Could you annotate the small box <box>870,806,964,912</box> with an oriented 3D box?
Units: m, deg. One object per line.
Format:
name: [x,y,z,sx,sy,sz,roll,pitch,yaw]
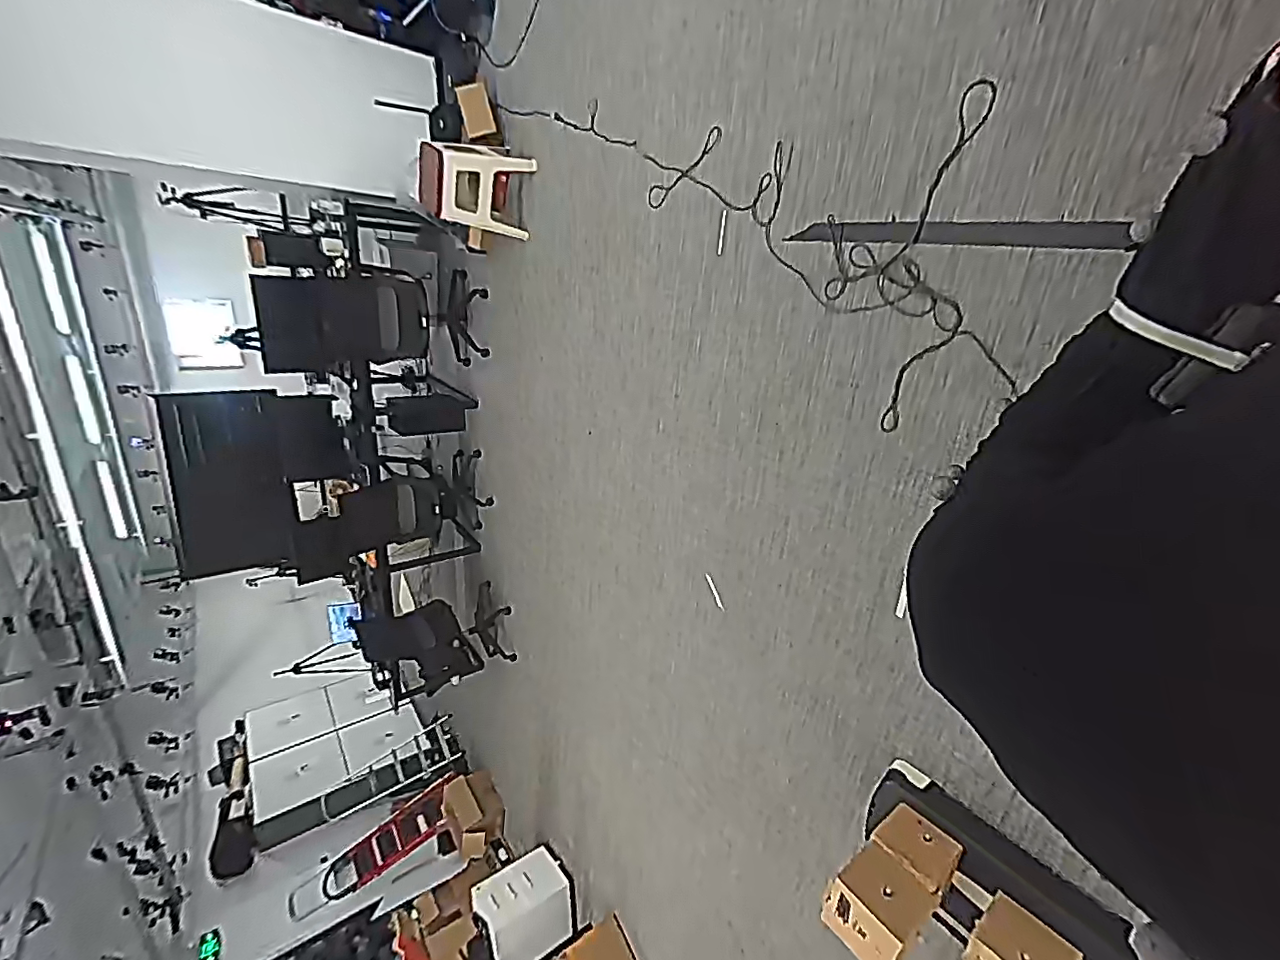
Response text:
small box: [0.723,1.018,1.426,0.168,0.176,0.179,25,118,48]

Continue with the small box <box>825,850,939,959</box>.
small box: [0.594,1.059,1.331,0.179,0.176,0.168,31,123,44]
